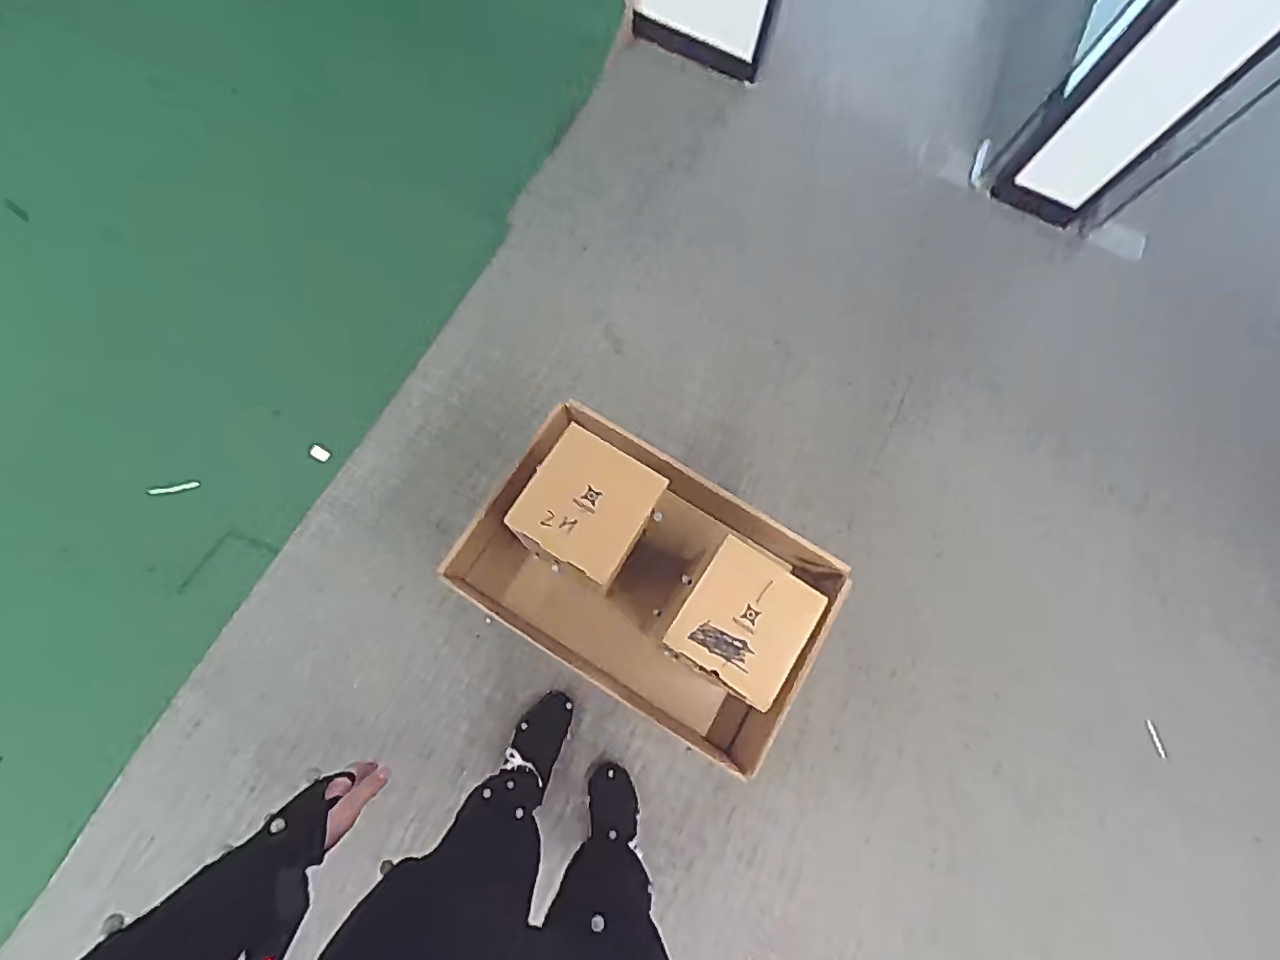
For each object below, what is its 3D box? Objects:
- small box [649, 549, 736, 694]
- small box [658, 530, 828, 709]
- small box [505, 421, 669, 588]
[{"bbox_3d":[0.126,0.244,0.953,0.168,0.176,0.179,33,76,5],"label":"small box"},{"bbox_3d":[0.138,0.202,0.794,0.168,0.176,0.179,34,75,5],"label":"small box"},{"bbox_3d":[-0.078,0.046,0.820,0.168,0.176,0.179,32,75,5],"label":"small box"}]
